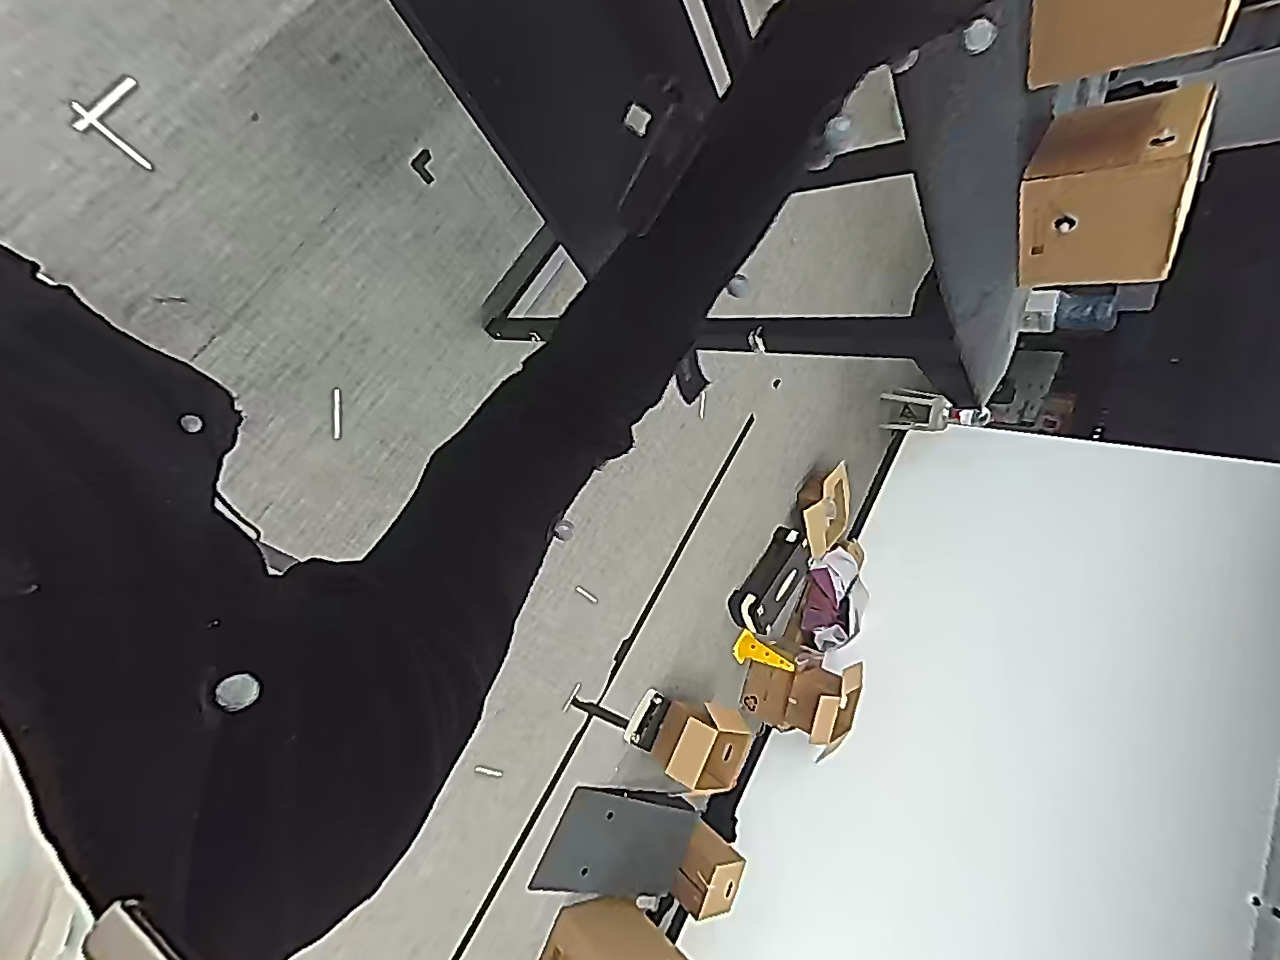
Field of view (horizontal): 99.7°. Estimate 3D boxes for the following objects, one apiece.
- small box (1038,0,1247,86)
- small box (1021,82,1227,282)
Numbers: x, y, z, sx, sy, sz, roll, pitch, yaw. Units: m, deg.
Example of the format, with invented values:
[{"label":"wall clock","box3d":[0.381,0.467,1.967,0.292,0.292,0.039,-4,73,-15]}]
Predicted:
[{"label":"small box","box3d":[0.551,-0.567,0.582,0.168,0.176,0.179,-46,132,-28]},{"label":"small box","box3d":[0.645,-0.392,0.736,0.179,0.176,0.168,-54,134,-20]}]
